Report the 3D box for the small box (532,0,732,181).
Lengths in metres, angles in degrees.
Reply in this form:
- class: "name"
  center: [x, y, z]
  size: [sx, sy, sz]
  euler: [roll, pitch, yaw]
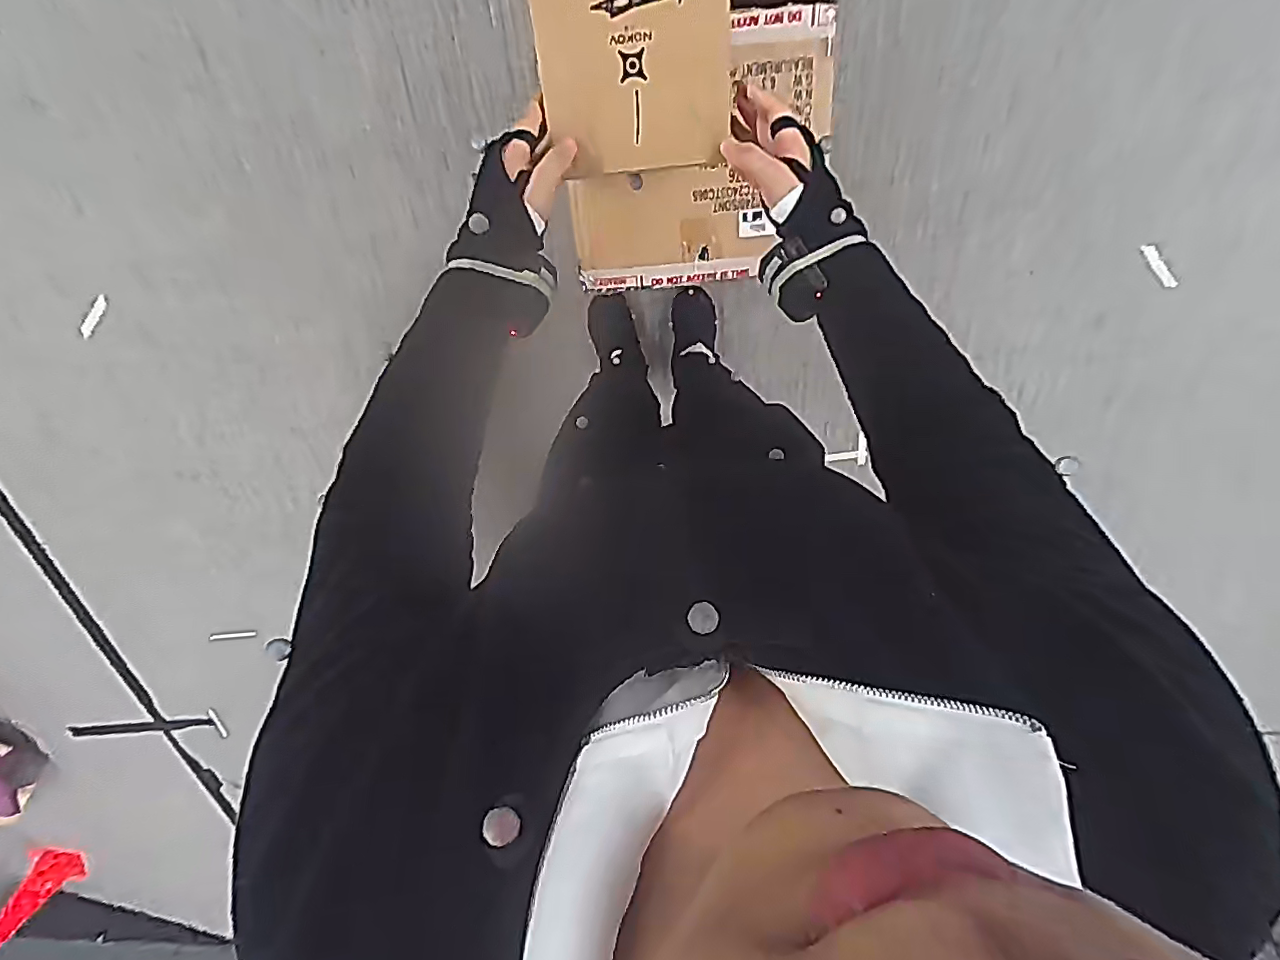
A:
- class: "small box"
  center: [-0.005, -0.398, 0.528]
  size: [0.168, 0.176, 0.179]
  euler: [-5, 120, 3]
